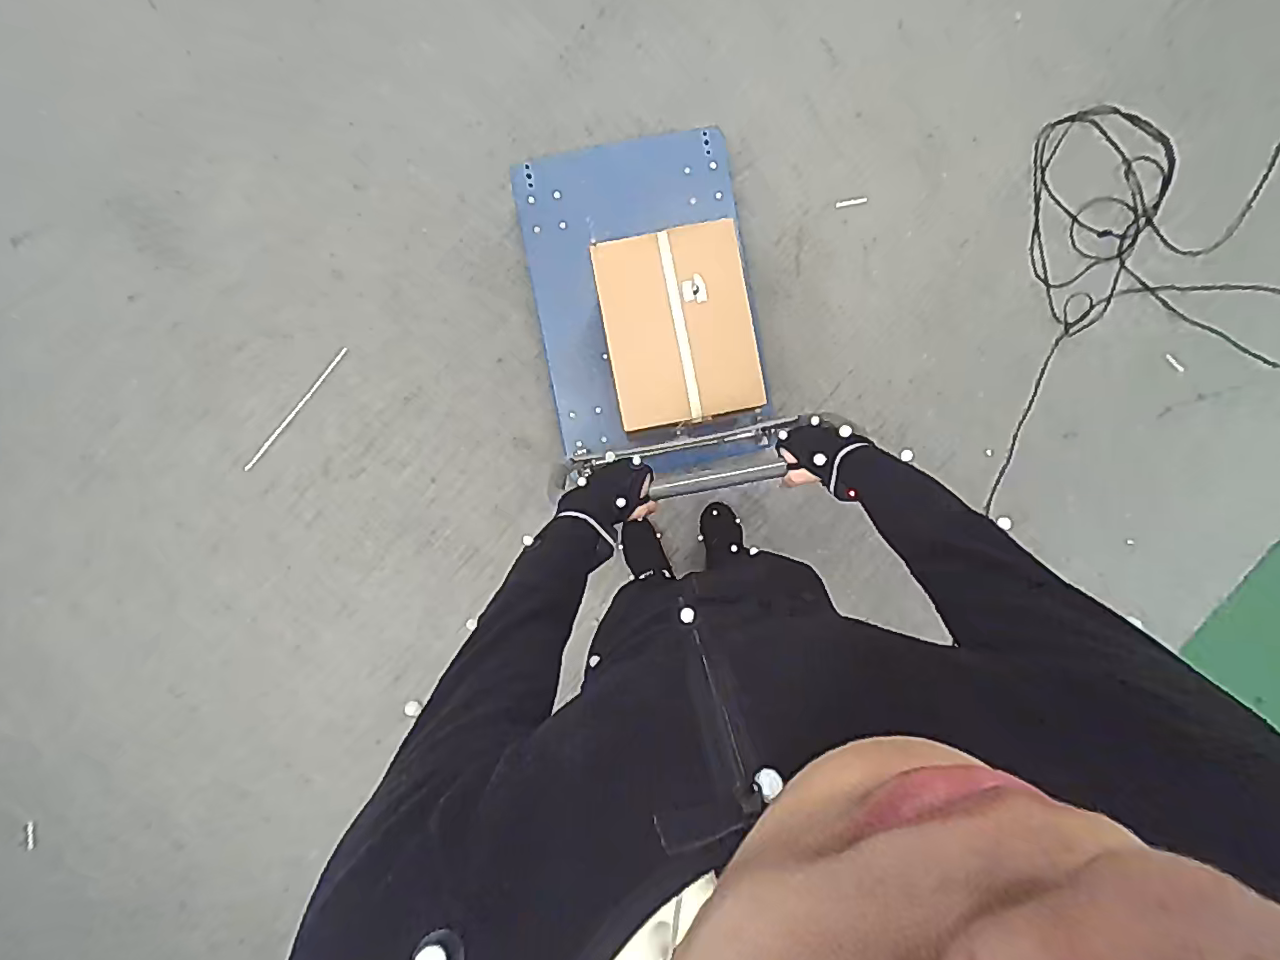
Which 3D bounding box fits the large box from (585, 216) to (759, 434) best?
[{"bbox_3d":[0.071,-0.345,1.309,0.320,0.320,0.408,-11,91,-1],"label":"large box"}]
